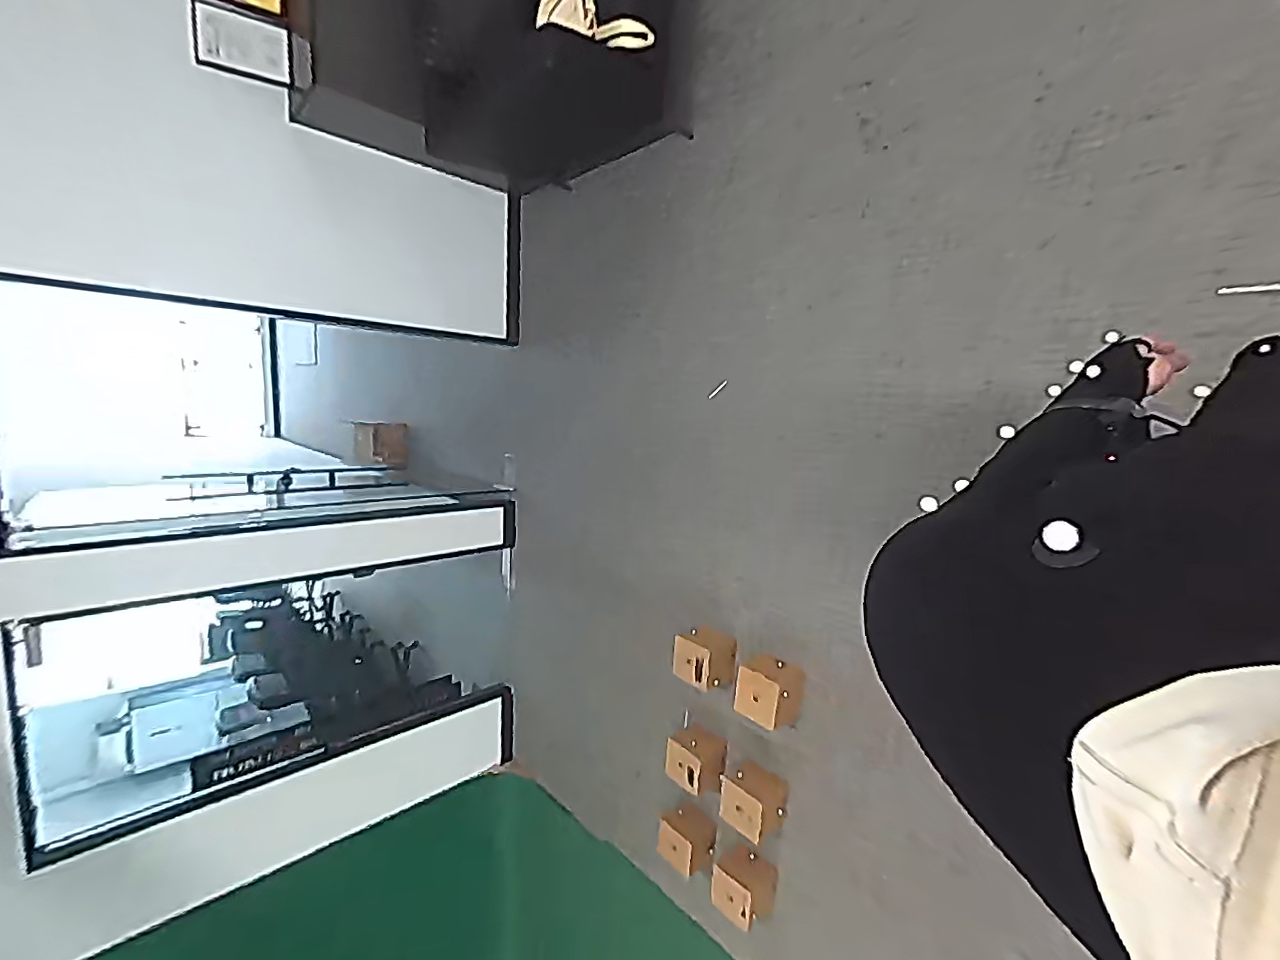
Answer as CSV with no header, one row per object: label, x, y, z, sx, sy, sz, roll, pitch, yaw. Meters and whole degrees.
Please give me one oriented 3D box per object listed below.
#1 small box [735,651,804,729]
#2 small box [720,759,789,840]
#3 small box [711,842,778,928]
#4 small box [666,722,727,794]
small box,0.457,0.730,1.901,0.168,0.176,0.179,15,103,46
small box,0.418,1.156,1.976,0.179,0.176,0.168,14,104,46
small box,0.392,1.508,2.034,0.179,0.176,0.168,12,103,47
small box,0.230,1.108,2.175,0.179,0.176,0.168,15,104,46
